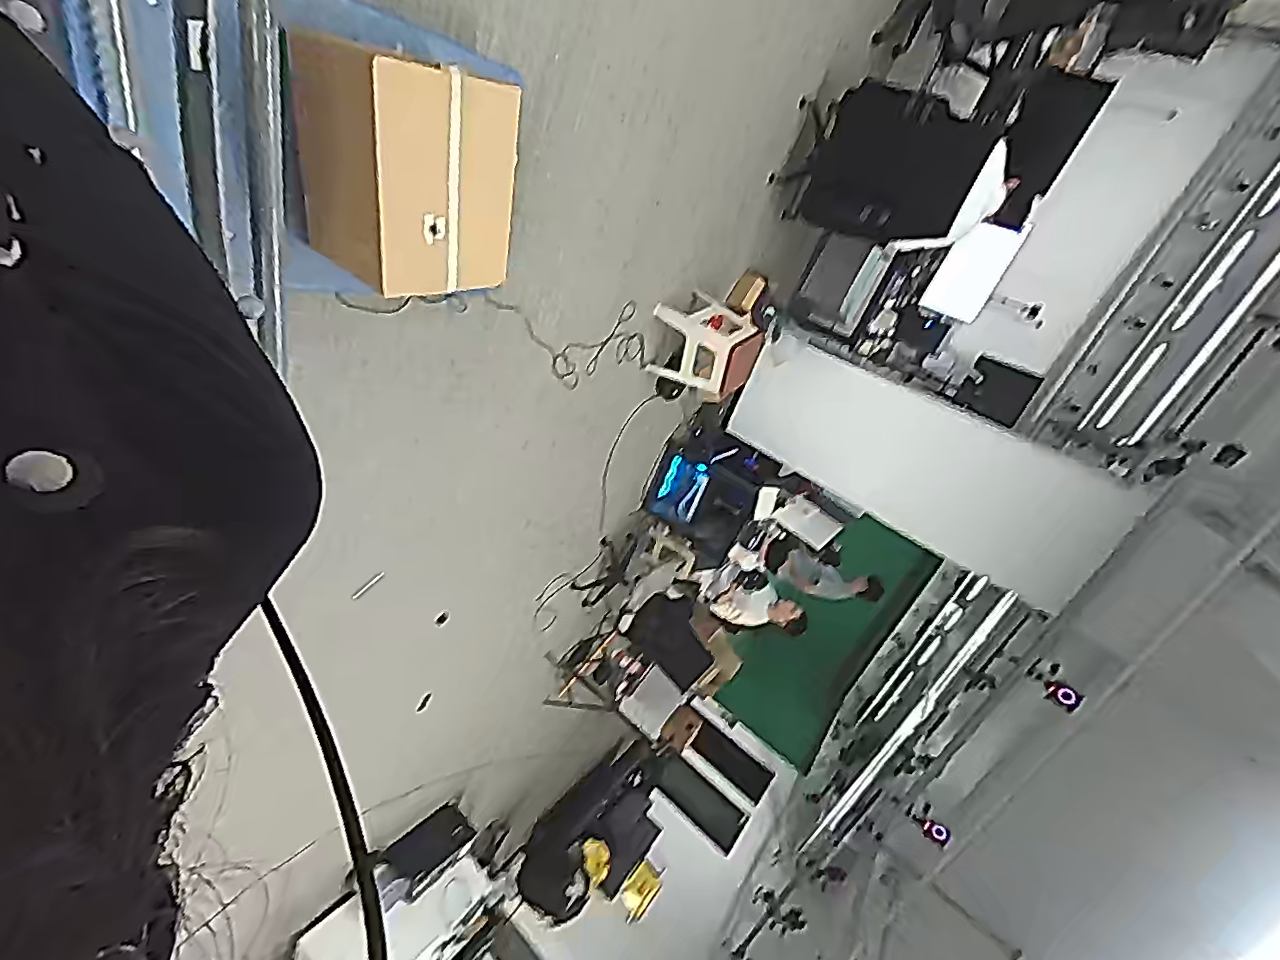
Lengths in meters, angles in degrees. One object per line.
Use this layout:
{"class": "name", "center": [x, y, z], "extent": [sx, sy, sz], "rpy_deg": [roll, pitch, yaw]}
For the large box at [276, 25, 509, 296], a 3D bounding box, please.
{"class": "large box", "center": [-0.513, -0.658, 1.151], "extent": [0.320, 0.320, 0.408], "rpy_deg": [-27, 144, -46]}
